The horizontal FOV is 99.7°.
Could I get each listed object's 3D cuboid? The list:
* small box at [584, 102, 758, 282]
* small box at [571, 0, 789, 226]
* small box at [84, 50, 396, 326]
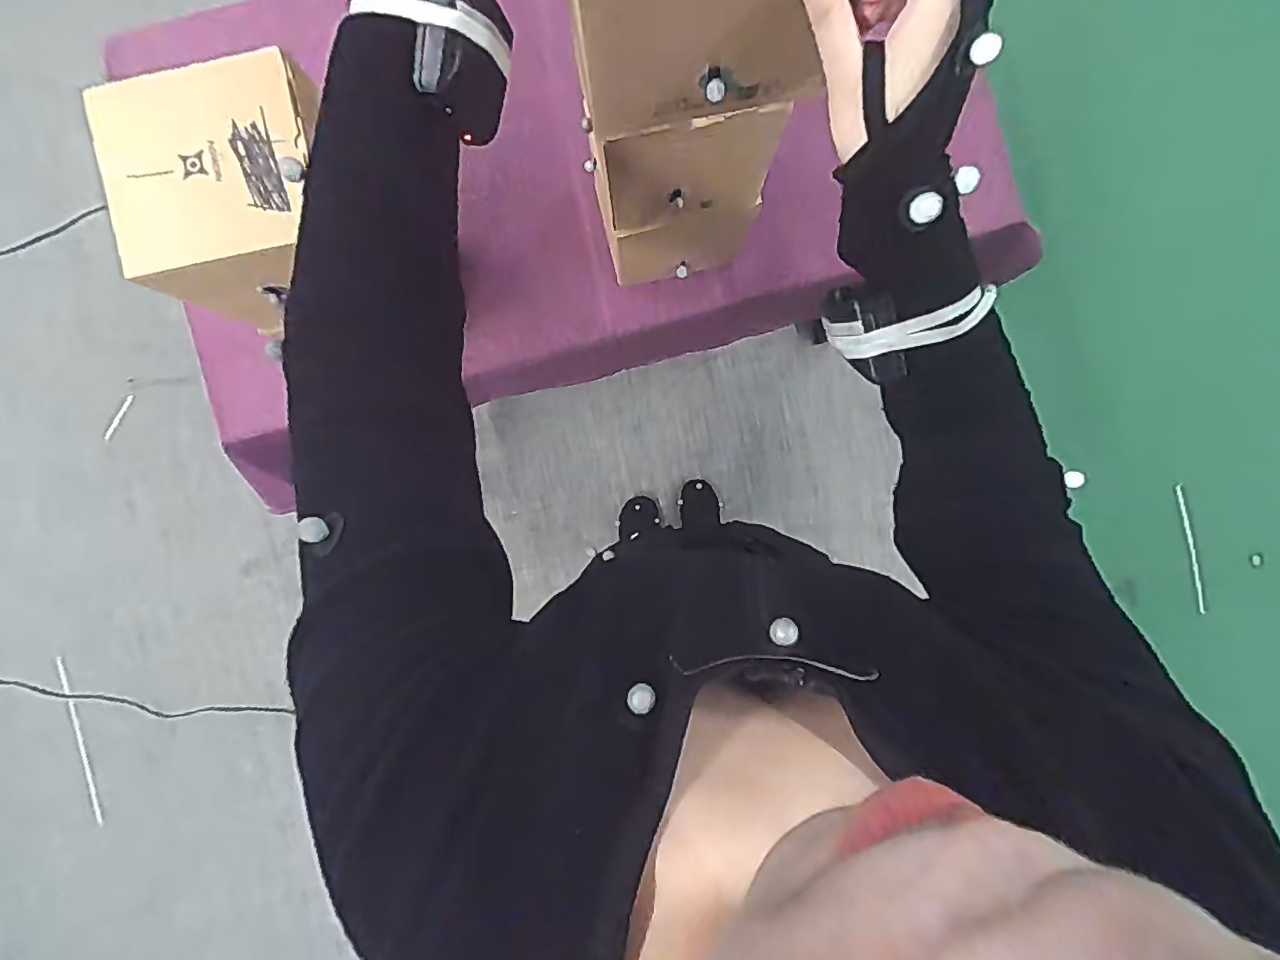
[{"bbox_3d":[0.034,-0.379,0.700,0.179,0.176,0.168,-13,90,0],"label":"small box"},{"bbox_3d":[0.030,-0.388,0.536,0.168,0.176,0.179,-13,92,1],"label":"small box"},{"bbox_3d":[-0.367,-0.268,0.537,0.179,0.176,0.168,-13,91,1],"label":"small box"}]
